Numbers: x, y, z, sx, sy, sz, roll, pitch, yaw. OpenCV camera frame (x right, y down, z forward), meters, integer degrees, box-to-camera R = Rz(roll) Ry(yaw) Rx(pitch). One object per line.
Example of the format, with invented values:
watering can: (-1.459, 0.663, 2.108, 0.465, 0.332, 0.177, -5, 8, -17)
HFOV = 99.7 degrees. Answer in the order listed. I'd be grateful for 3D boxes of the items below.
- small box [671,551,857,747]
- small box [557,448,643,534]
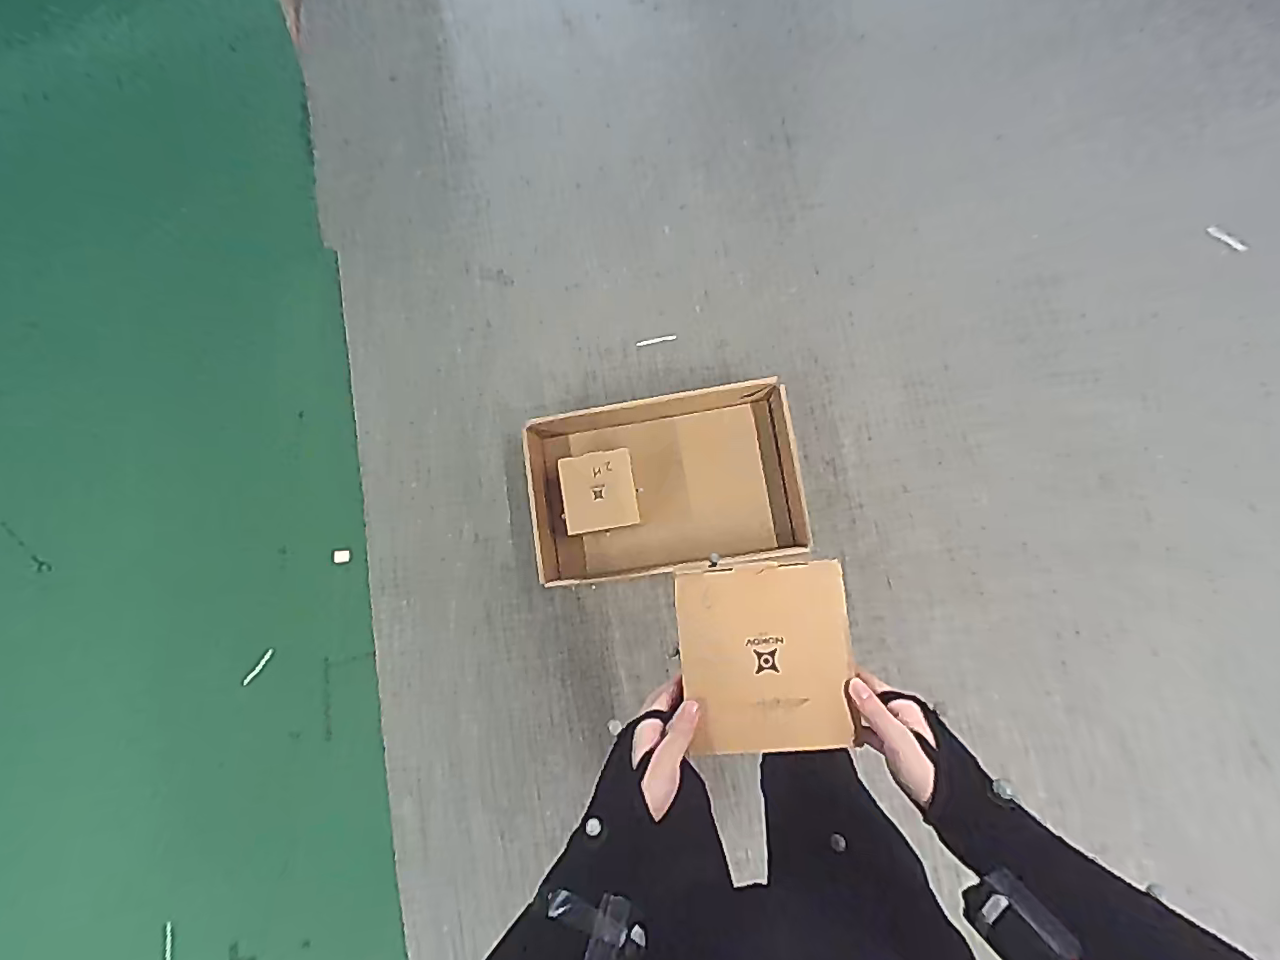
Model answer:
small box: (0.121, 0.174, 0.598, 0.168, 0.176, 0.179, -5, 82, 3)
small box: (-0.089, 0.033, 1.282, 0.168, 0.176, 0.179, -9, 82, 4)
